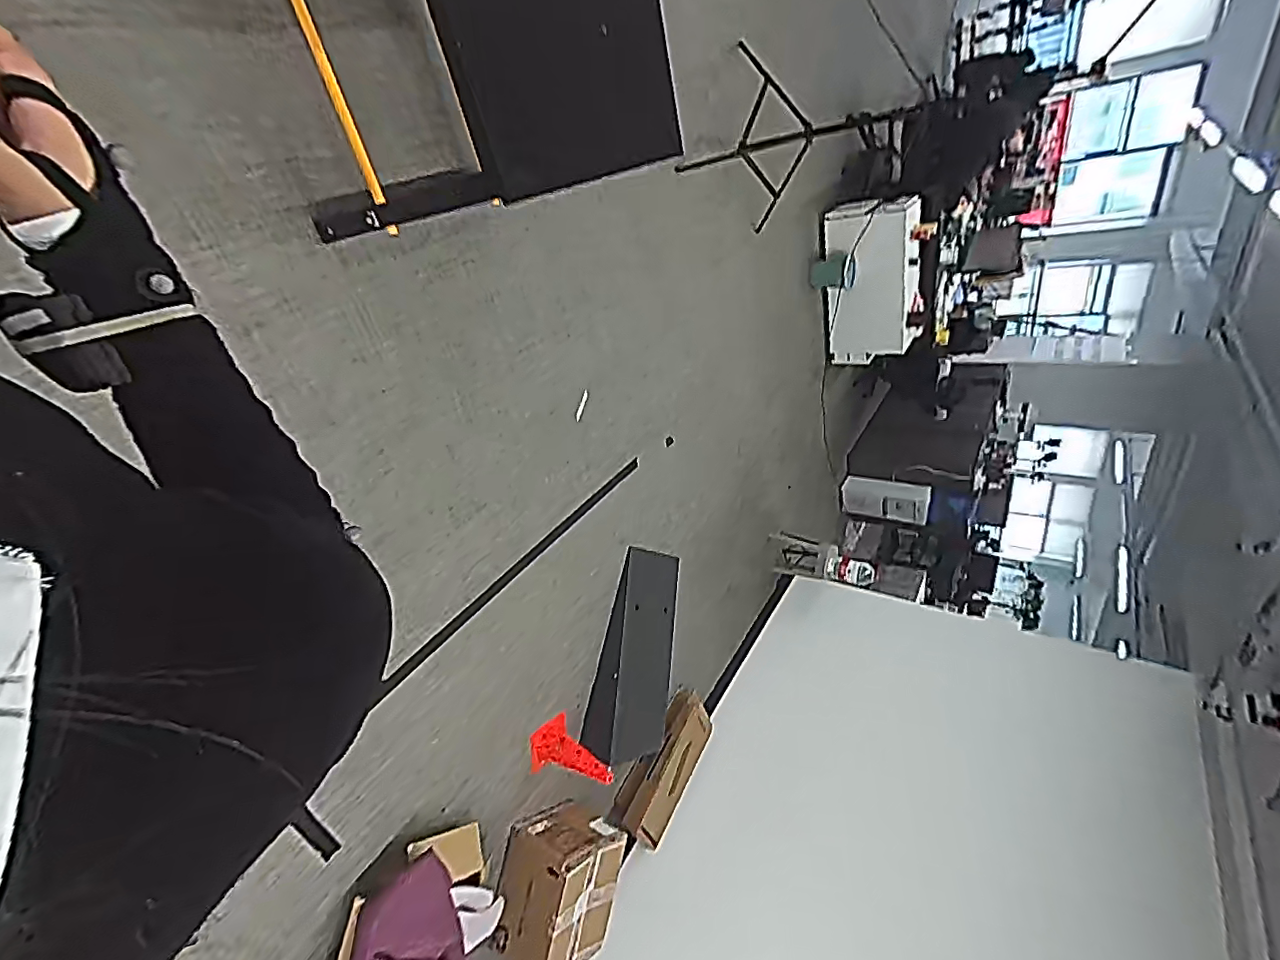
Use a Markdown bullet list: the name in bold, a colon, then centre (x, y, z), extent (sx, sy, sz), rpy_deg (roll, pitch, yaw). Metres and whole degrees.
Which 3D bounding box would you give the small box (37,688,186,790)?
- **small box**: centre (-1.096, 0.574, 1.135), extent (0.179, 0.176, 0.168), rpy_deg (-39, 128, -41)
